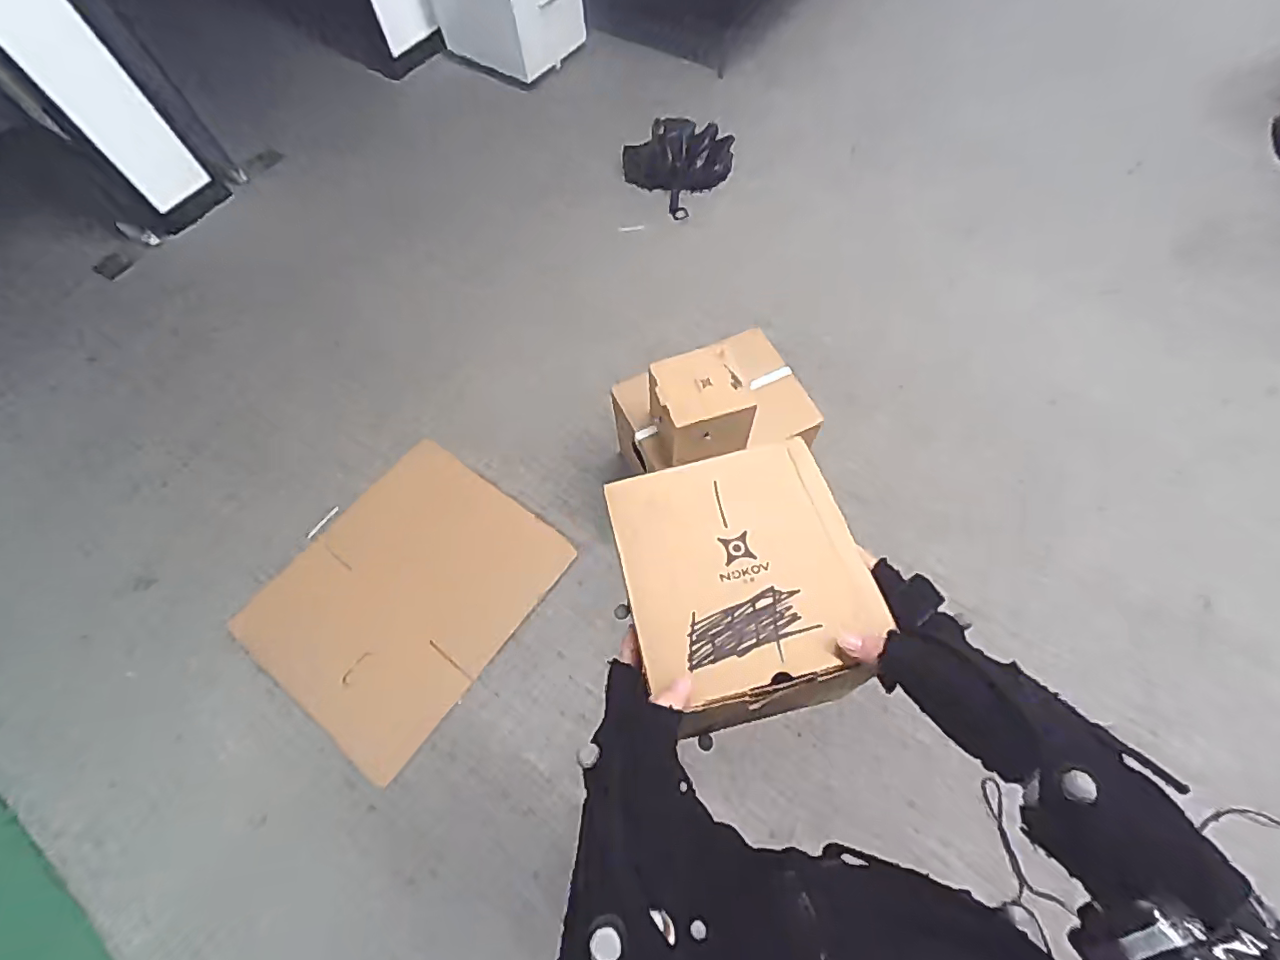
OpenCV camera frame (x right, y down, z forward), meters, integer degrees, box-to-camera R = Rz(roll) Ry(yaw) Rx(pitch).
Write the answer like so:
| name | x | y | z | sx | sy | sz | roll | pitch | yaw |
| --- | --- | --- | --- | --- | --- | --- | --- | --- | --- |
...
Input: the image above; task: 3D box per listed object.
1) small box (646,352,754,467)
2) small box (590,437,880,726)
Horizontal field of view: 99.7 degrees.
| name | x | y | z | sx | sy | sz | roll | pitch | yaw |
| --- | --- | --- | --- | --- | --- | --- | --- | --- | --- |
| small box | 0.125 | -0.139 | 1.162 | 0.179 | 0.176 | 0.168 | -19 | 63 | -7 |
| small box | 0.068 | 0.097 | 0.461 | 0.168 | 0.176 | 0.179 | -17 | 60 | -4 |
